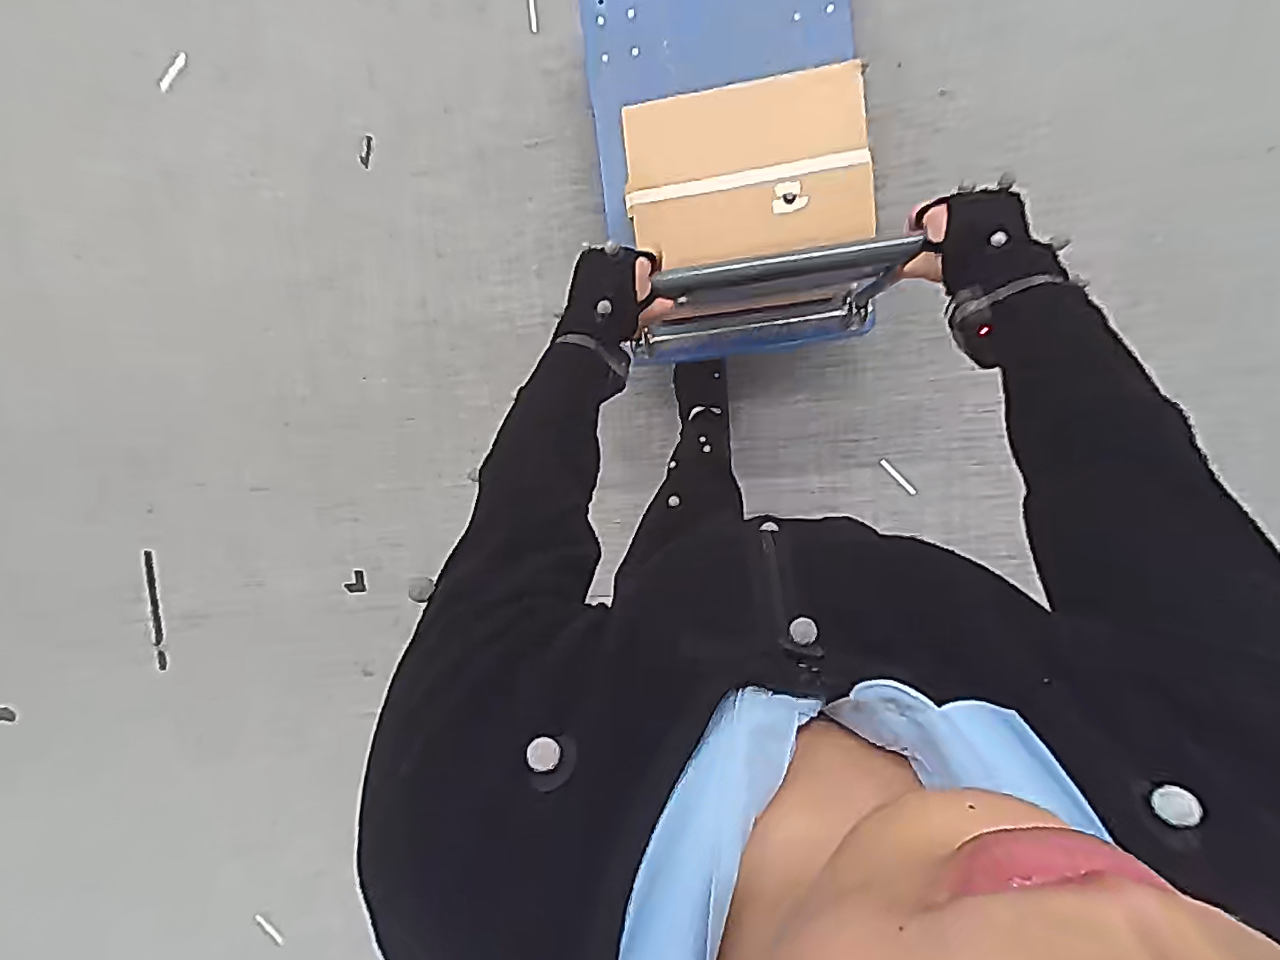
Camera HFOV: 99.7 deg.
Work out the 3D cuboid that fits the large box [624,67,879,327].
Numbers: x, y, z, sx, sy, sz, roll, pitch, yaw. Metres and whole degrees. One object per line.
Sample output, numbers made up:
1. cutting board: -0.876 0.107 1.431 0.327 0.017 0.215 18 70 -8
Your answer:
1. large box: 0.202 -0.511 1.062 0.408 0.320 0.320 -6 95 7
